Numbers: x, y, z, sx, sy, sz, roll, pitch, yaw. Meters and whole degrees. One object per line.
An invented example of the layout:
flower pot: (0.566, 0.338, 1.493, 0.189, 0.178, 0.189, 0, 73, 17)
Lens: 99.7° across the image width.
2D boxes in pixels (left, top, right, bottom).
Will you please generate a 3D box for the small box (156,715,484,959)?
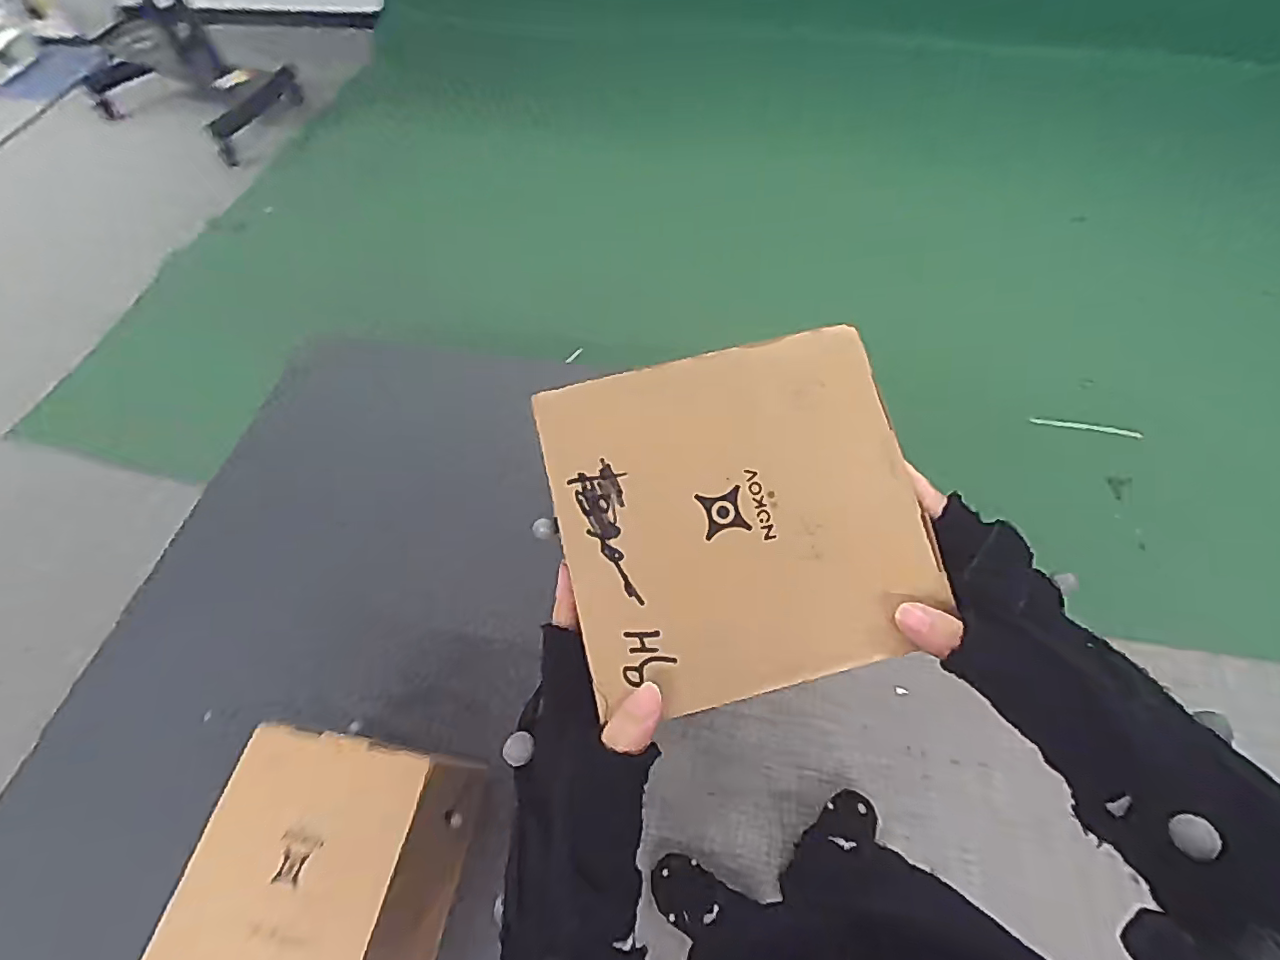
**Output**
small box: (-0.262, 0.332, 0.499, 0.168, 0.176, 0.179, 6, 62, 8)

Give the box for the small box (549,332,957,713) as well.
small box: (0.050, 0.031, 0.345, 0.179, 0.176, 0.168, -12, 77, -4)
